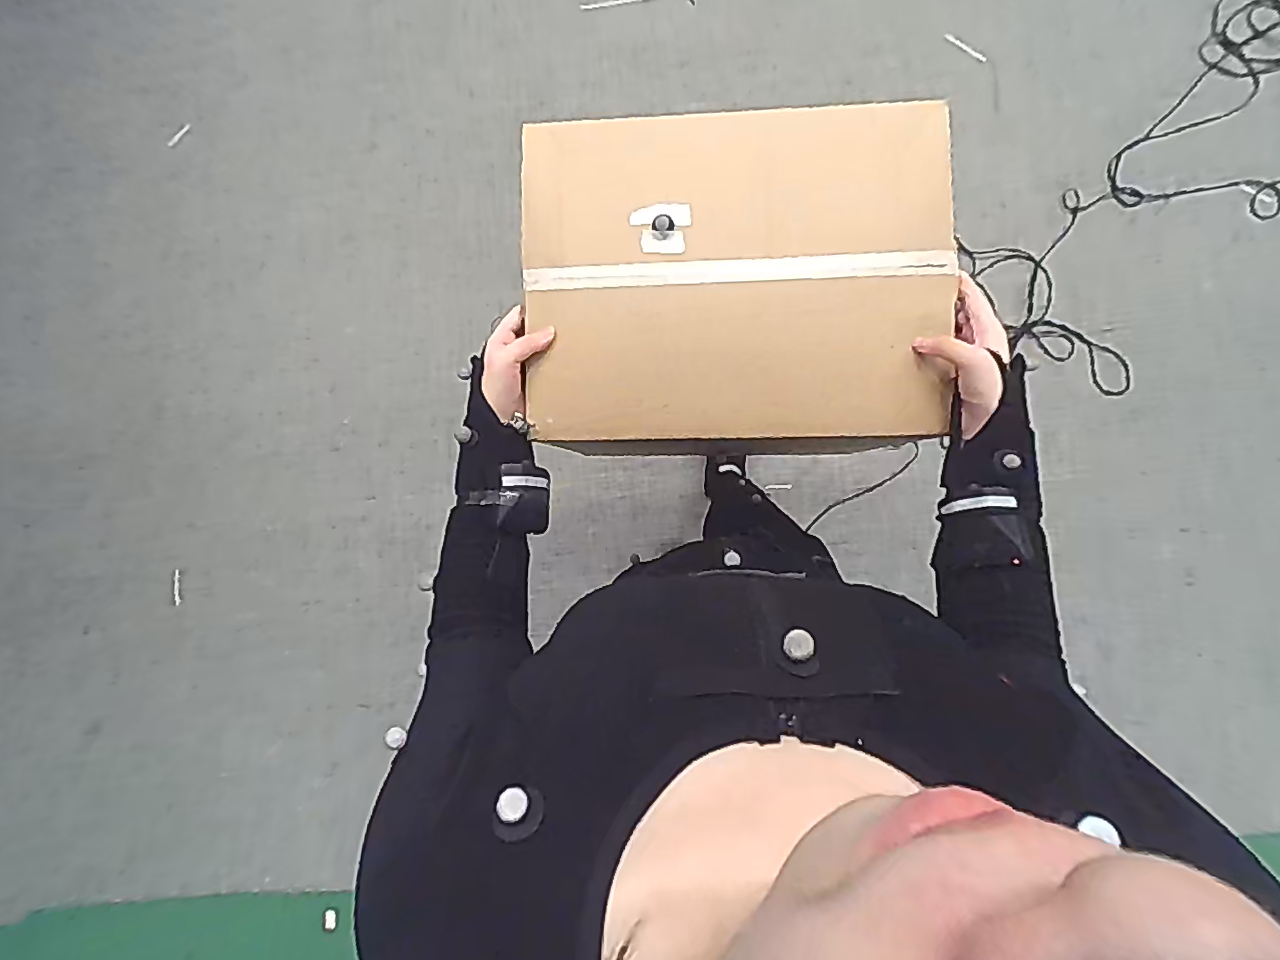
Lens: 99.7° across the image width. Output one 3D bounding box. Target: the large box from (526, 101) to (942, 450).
[{"bbox_3d":[0.101,-0.202,0.678,0.408,0.320,0.320,-1,89,6],"label":"large box"}]
